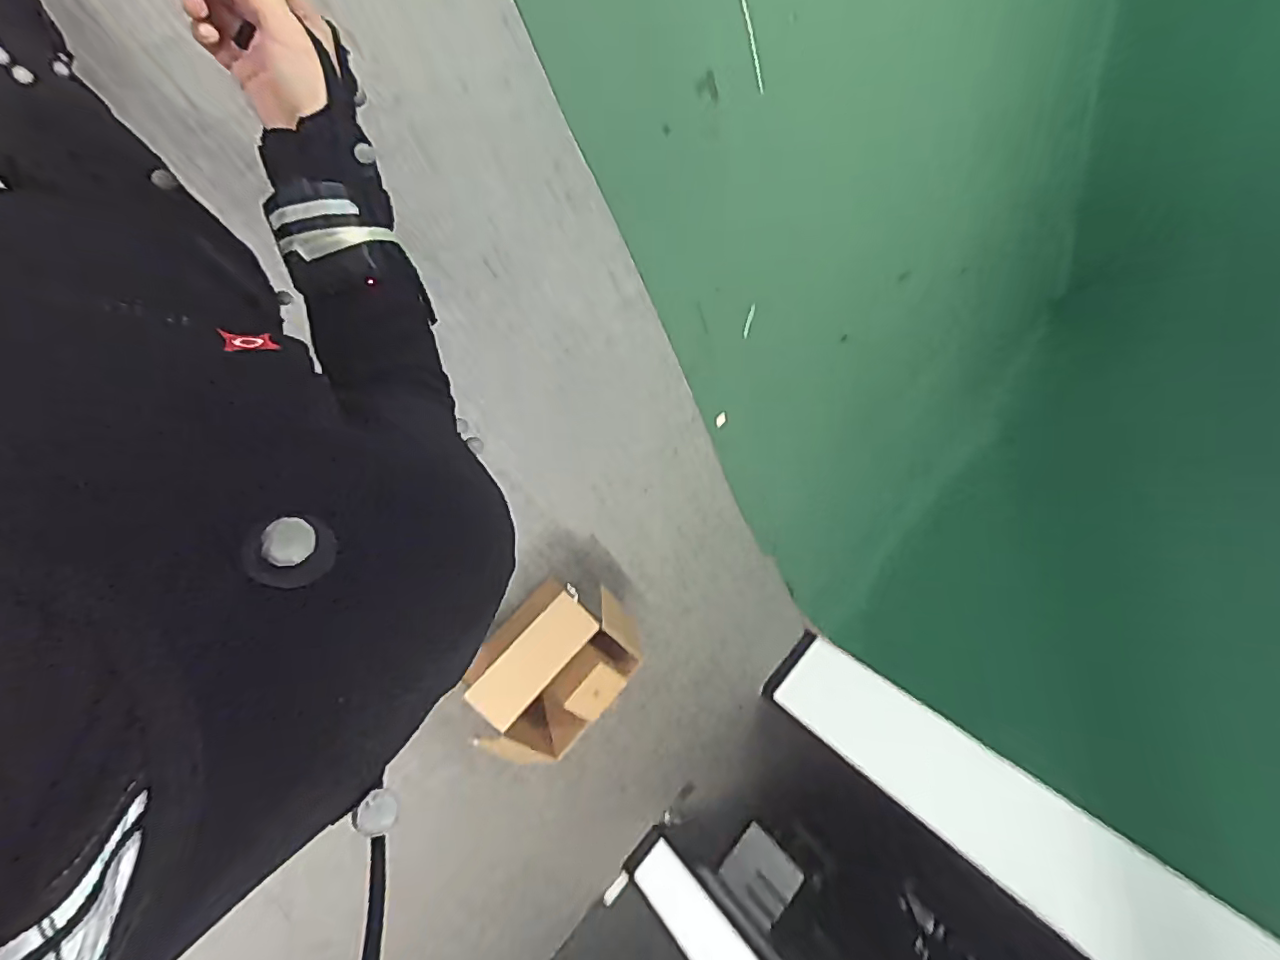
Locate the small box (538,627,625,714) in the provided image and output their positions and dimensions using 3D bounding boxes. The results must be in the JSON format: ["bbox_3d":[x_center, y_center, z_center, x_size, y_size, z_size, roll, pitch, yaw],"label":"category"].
[{"bbox_3d":[-0.185,0.596,1.704,0.168,0.176,0.179,-47,134,-10],"label":"small box"}]
